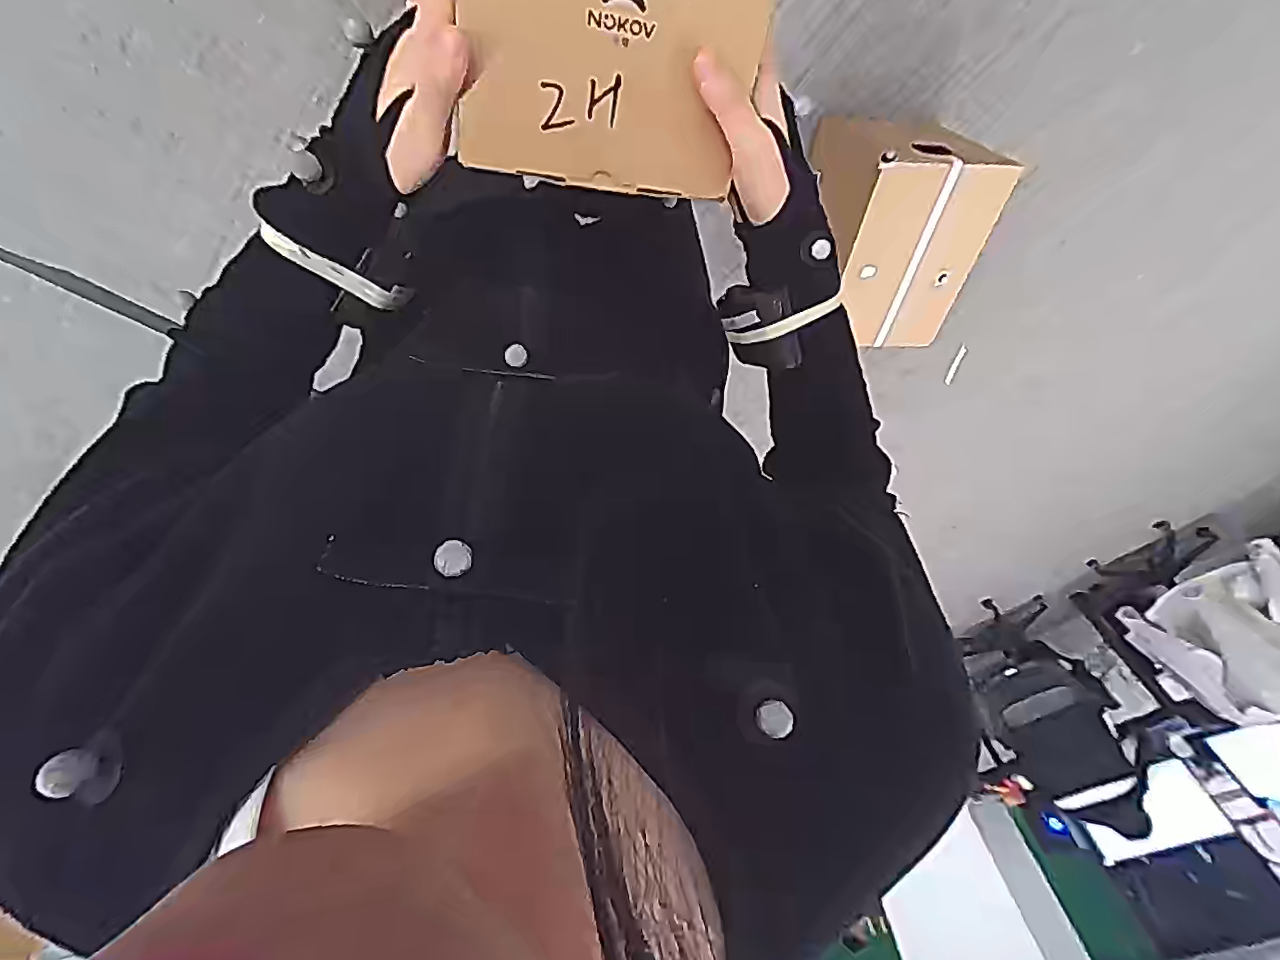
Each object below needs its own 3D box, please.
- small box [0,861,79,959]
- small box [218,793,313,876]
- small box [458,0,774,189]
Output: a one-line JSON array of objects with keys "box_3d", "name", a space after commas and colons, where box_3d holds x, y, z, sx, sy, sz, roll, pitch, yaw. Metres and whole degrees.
[{"box_3d": [-1.406, 0.960, 1.190, 0.179, 0.176, 0.168, 24, 126, -33], "name": "small box"}, {"box_3d": [-1.089, 1.038, 1.586, 0.168, 0.176, 0.179, 29, 123, -35], "name": "small box"}, {"box_3d": [-0.026, -0.302, 0.334, 0.168, 0.176, 0.179, -1, 128, -16], "name": "small box"}]
